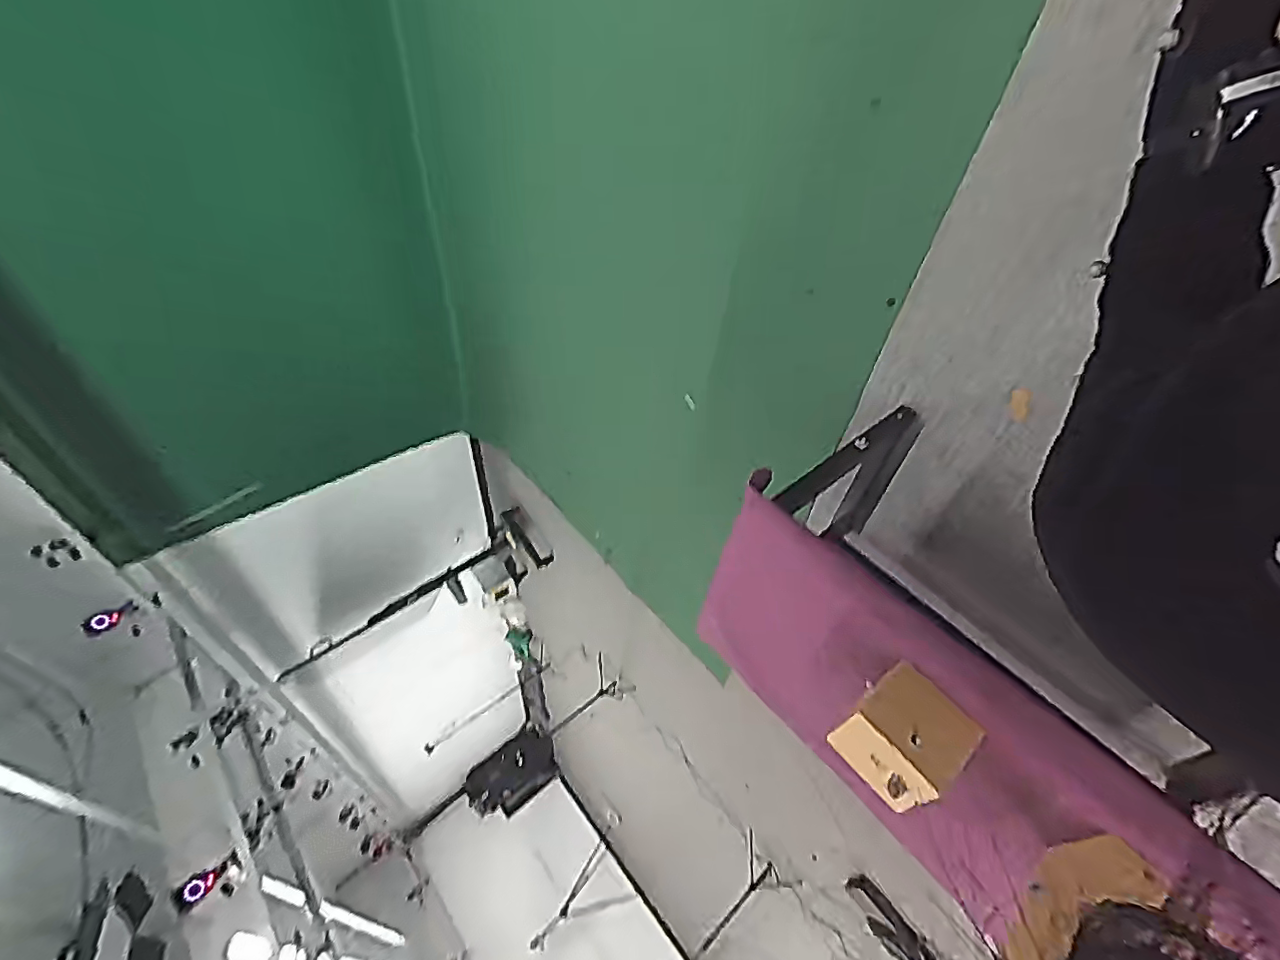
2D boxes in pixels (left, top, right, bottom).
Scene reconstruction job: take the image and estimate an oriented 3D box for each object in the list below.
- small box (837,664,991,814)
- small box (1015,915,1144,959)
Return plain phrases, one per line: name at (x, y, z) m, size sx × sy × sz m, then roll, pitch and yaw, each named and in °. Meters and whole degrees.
small box at (0.524, 0.494, 1.039) m, size 0.179 × 0.176 × 0.168 m, roll 44°, pitch 147°, yaw 27°
small box at (0.646, 0.769, 0.765) m, size 0.168 × 0.176 × 0.179 m, roll 39°, pitch 145°, yaw 32°
